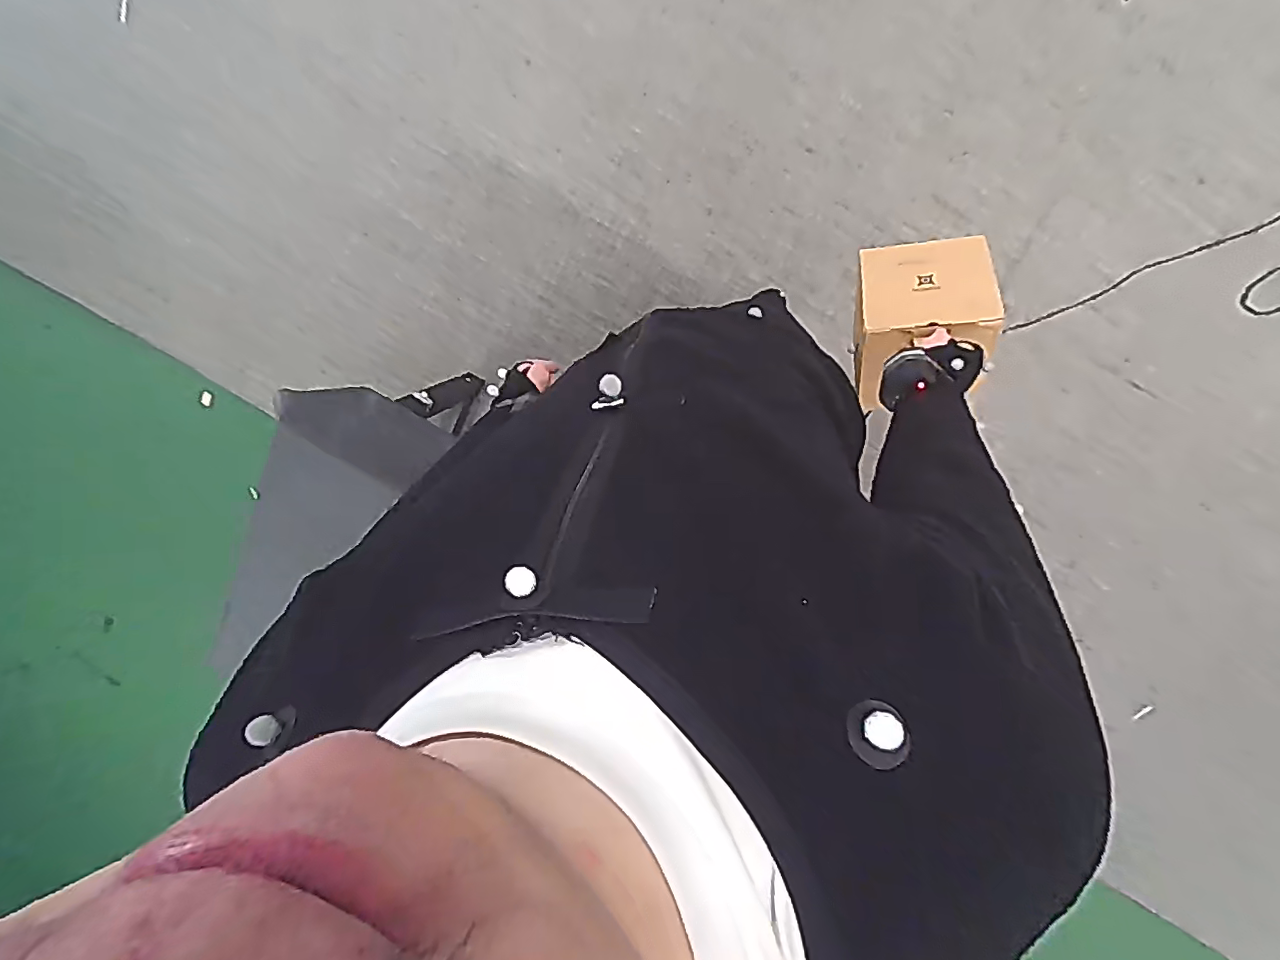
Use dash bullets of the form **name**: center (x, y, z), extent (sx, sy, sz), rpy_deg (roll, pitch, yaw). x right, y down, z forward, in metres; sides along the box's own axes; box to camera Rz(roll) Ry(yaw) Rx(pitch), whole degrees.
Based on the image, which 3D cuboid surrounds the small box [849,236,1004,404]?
- **small box**: center (0.403, -0.224, 0.794), extent (0.168, 0.179, 0.176), rpy_deg (0, 145, 16)
